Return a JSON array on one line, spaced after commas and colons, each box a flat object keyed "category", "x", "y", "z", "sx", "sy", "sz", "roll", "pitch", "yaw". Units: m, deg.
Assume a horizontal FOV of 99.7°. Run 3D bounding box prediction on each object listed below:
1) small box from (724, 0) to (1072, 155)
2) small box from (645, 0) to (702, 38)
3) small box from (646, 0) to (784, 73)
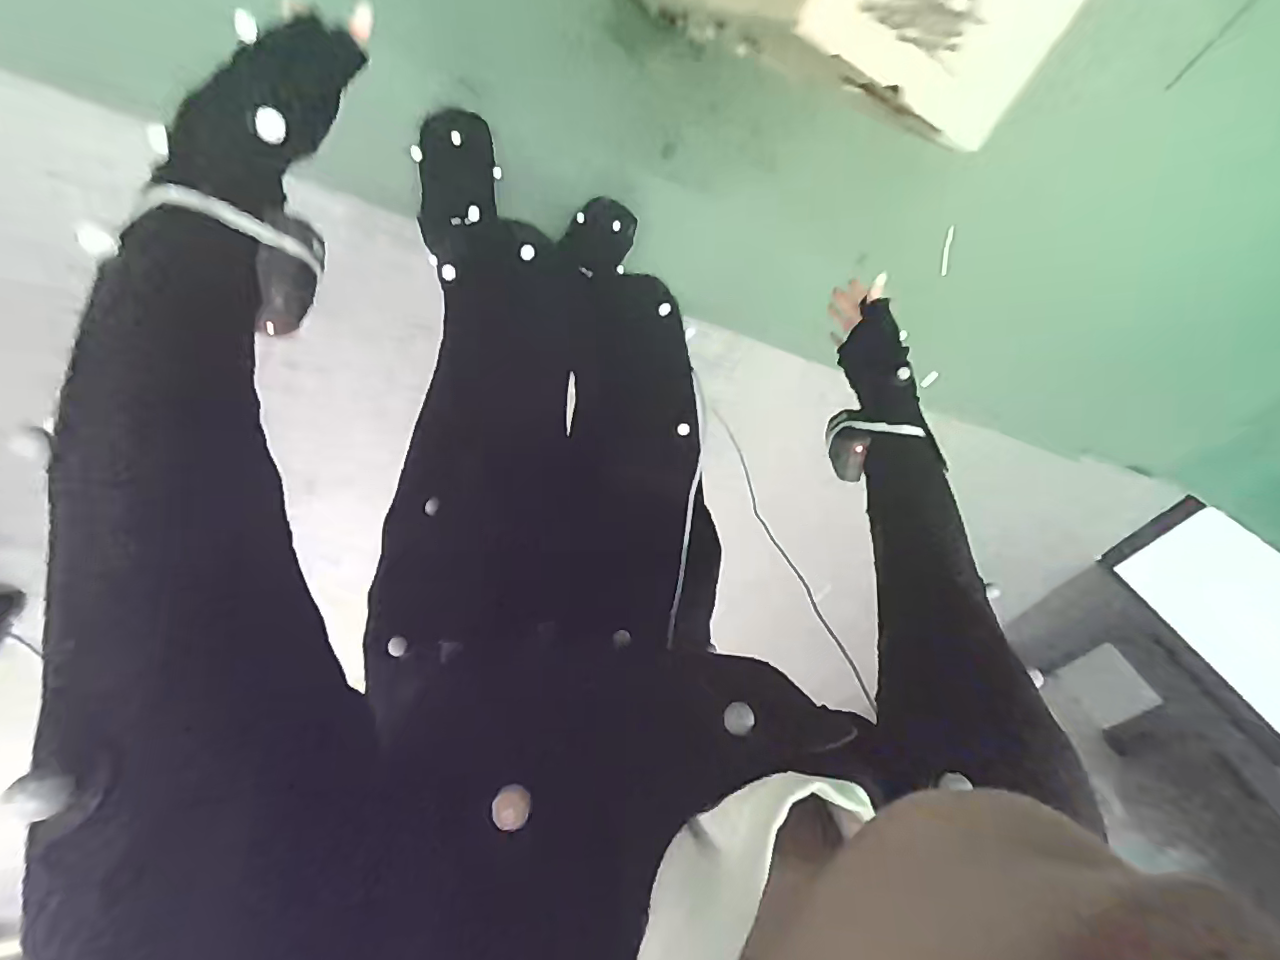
[{"category": "small box", "x": 0.175, "y": -0.361, "z": 0.361, "sx": 0.168, "sy": 0.176, "sz": 0.179, "roll": 11, "pitch": 128, "yaw": -27}, {"category": "small box", "x": 0.073, "y": -0.709, "z": 0.695, "sx": 0.168, "sy": 0.176, "sz": 0.179, "roll": 13, "pitch": 128, "yaw": -27}, {"category": "small box", "x": 0.106, "y": -0.592, "z": 0.586, "sx": 0.168, "sy": 0.176, "sz": 0.179, "roll": 10, "pitch": 130, "yaw": -26}]
